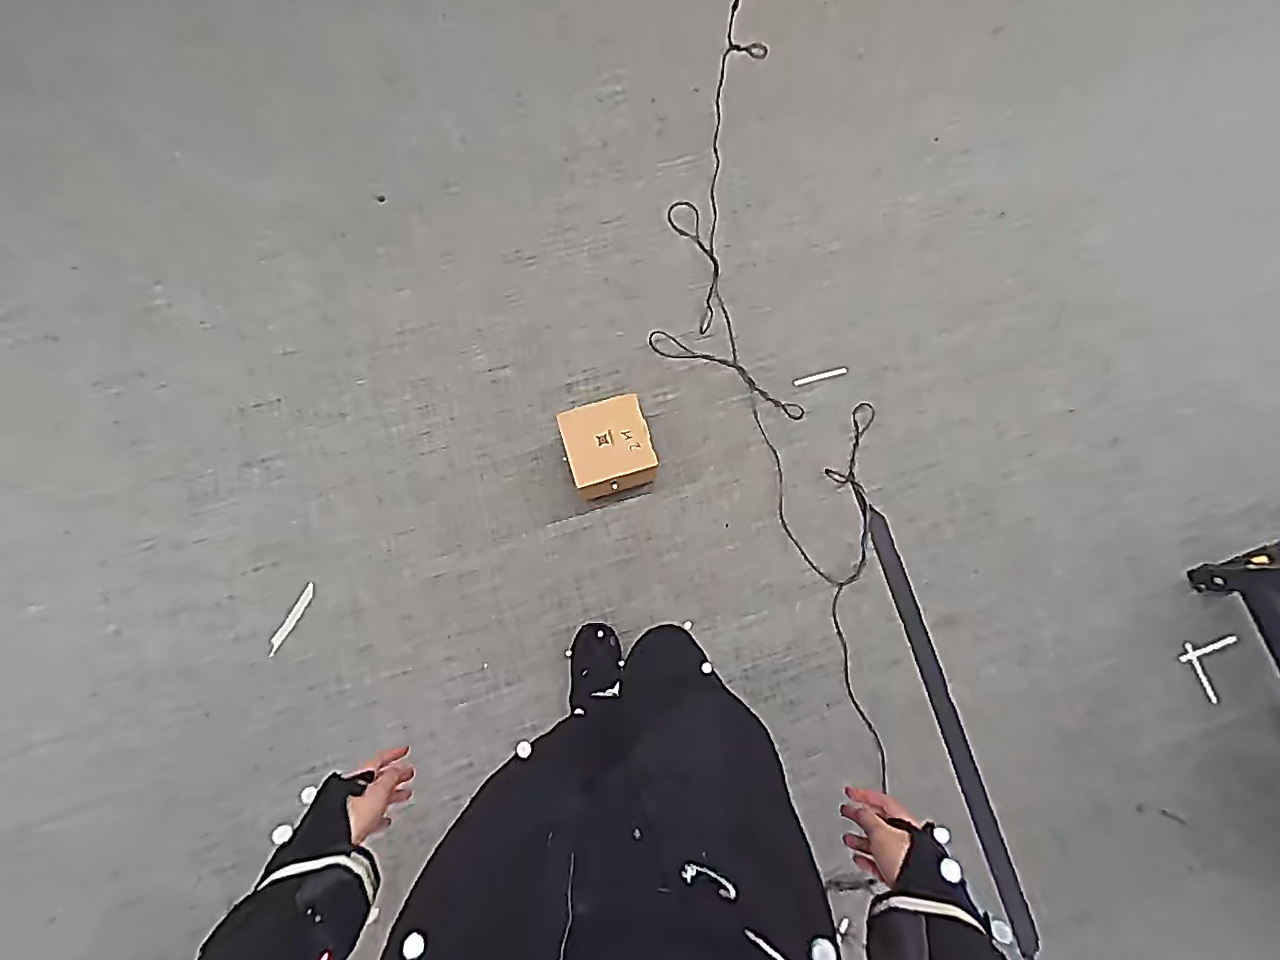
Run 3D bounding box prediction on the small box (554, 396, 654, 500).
[{"bbox_3d":[-0.076,-0.062,1.186,0.179,0.176,0.168,-16,81,-5],"label":"small box"}]
